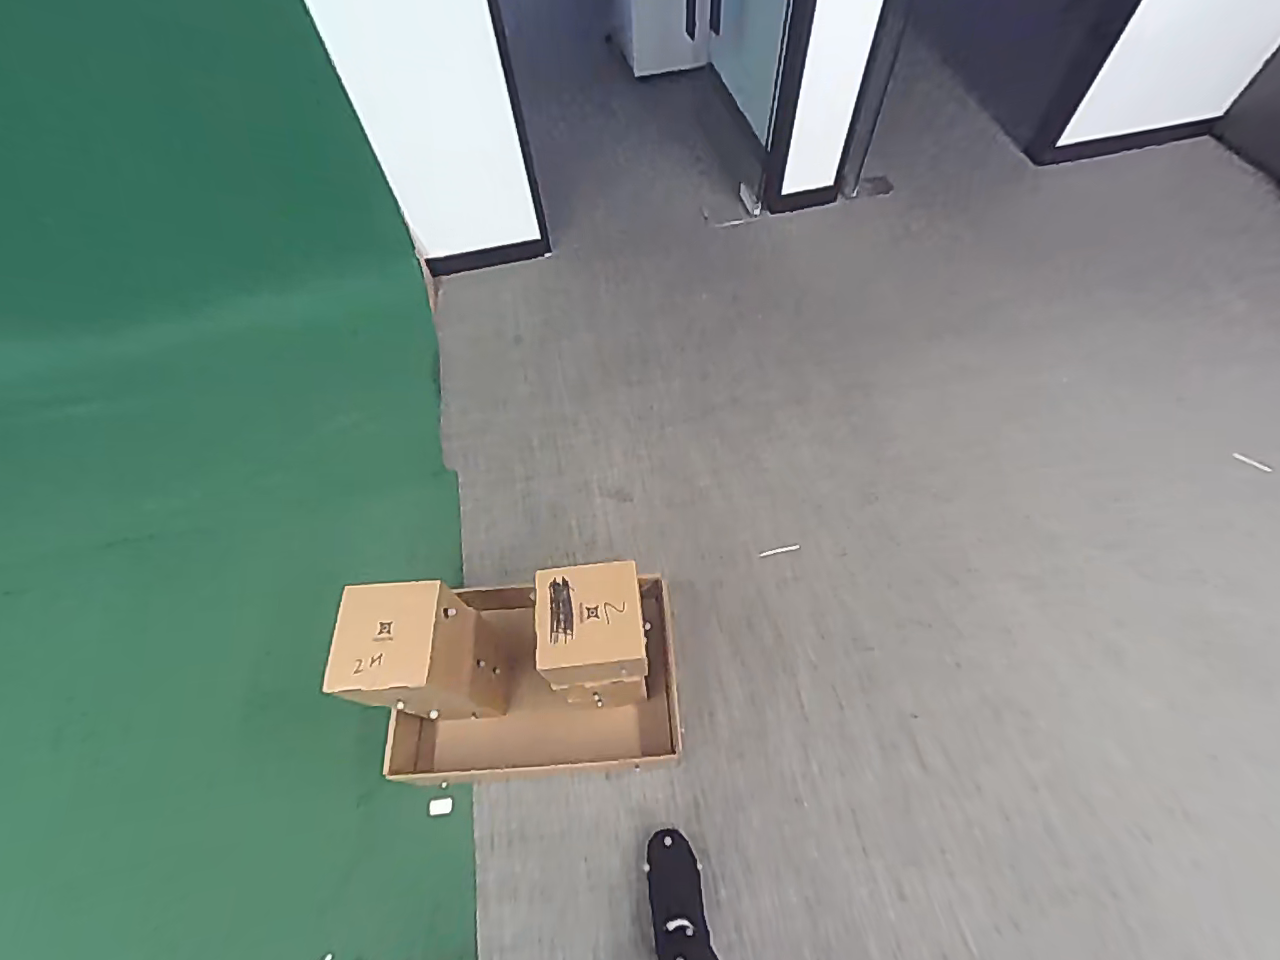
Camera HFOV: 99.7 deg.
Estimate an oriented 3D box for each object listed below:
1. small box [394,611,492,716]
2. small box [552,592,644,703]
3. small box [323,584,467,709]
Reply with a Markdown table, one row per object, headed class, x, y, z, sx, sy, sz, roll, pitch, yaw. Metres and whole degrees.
| class | x | y | z | sx | sy | sz | roll | pitch | yaw |
| --- | --- | --- | --- | --- | --- | --- | --- | --- | --- |
| small box | -0.406 | 0.374 | 1.095 | 0.168 | 0.176 | 0.179 | -1 | 62 | 1 |
| small box | -0.082 | 0.343 | 1.096 | 0.168 | 0.176 | 0.179 | -6 | 61 | 0 |
| small box | -0.415 | 0.296 | 0.950 | 0.168 | 0.176 | 0.179 | -3 | 61 | 0 |
